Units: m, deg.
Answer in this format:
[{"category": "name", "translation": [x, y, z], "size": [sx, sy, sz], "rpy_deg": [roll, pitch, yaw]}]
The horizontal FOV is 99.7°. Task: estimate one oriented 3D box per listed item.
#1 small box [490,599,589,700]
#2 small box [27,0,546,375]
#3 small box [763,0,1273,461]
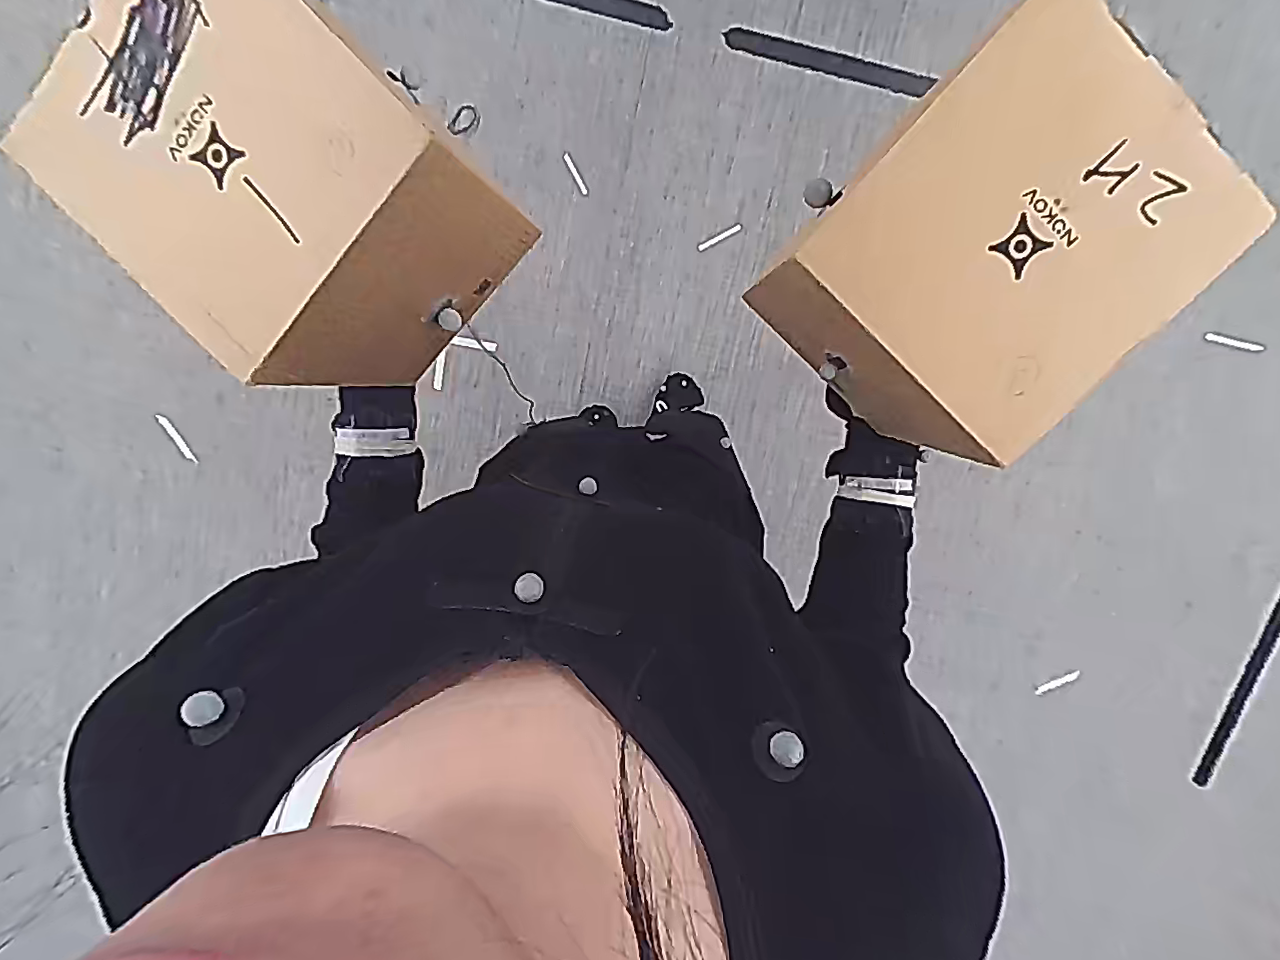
[{"category": "small box", "translation": [-0.199, 0.344, 1.005], "size": [0.168, 0.176, 0.179], "rpy_deg": [18, 99, -1]}, {"category": "small box", "translation": [-0.192, -0.181, 0.345], "size": [0.168, 0.176, 0.179], "rpy_deg": [-43, 92, 13]}, {"category": "small box", "translation": [0.200, -0.139, 0.350], "size": [0.168, 0.176, 0.179], "rpy_deg": [42, 99, -8]}]
